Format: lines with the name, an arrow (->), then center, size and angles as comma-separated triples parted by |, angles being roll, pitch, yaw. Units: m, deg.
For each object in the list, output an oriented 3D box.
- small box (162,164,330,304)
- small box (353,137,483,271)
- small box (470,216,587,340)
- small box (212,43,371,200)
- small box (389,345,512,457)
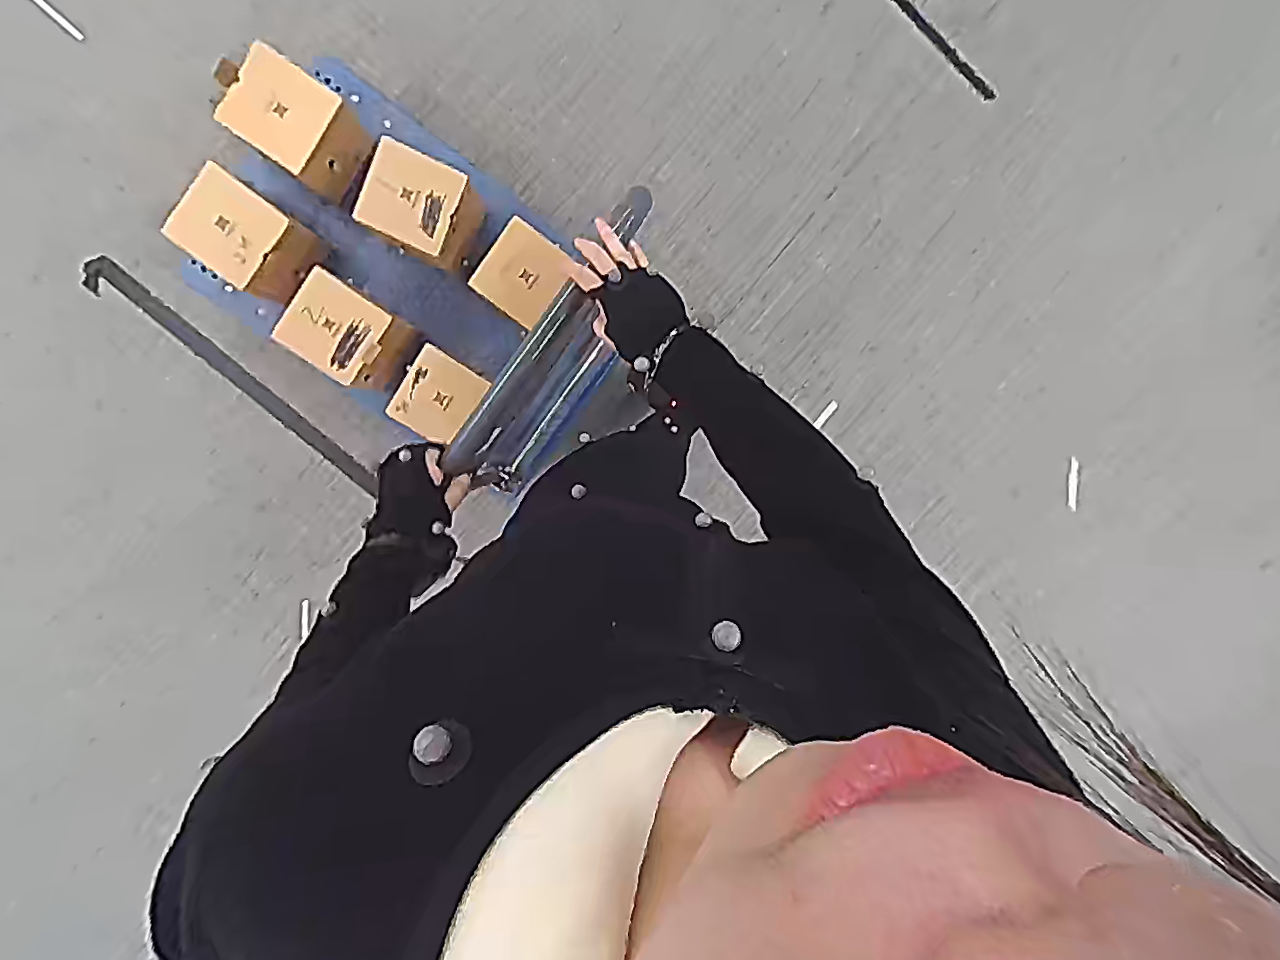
small box -> -0.777, -0.479, 1.087 | 0.179, 0.176, 0.168 | 37, 93, -9
small box -> -0.443, -0.549, 1.109 | 0.179, 0.176, 0.168 | 23, 95, -7
small box -> -0.226, -0.414, 1.147 | 0.179, 0.176, 0.168 | 36, 93, -8
small box -> -0.673, -0.689, 1.070 | 0.179, 0.176, 0.168 | 32, 94, -8
small box -> -0.394, -0.169, 1.163 | 0.179, 0.176, 0.168 | 31, 93, -9
